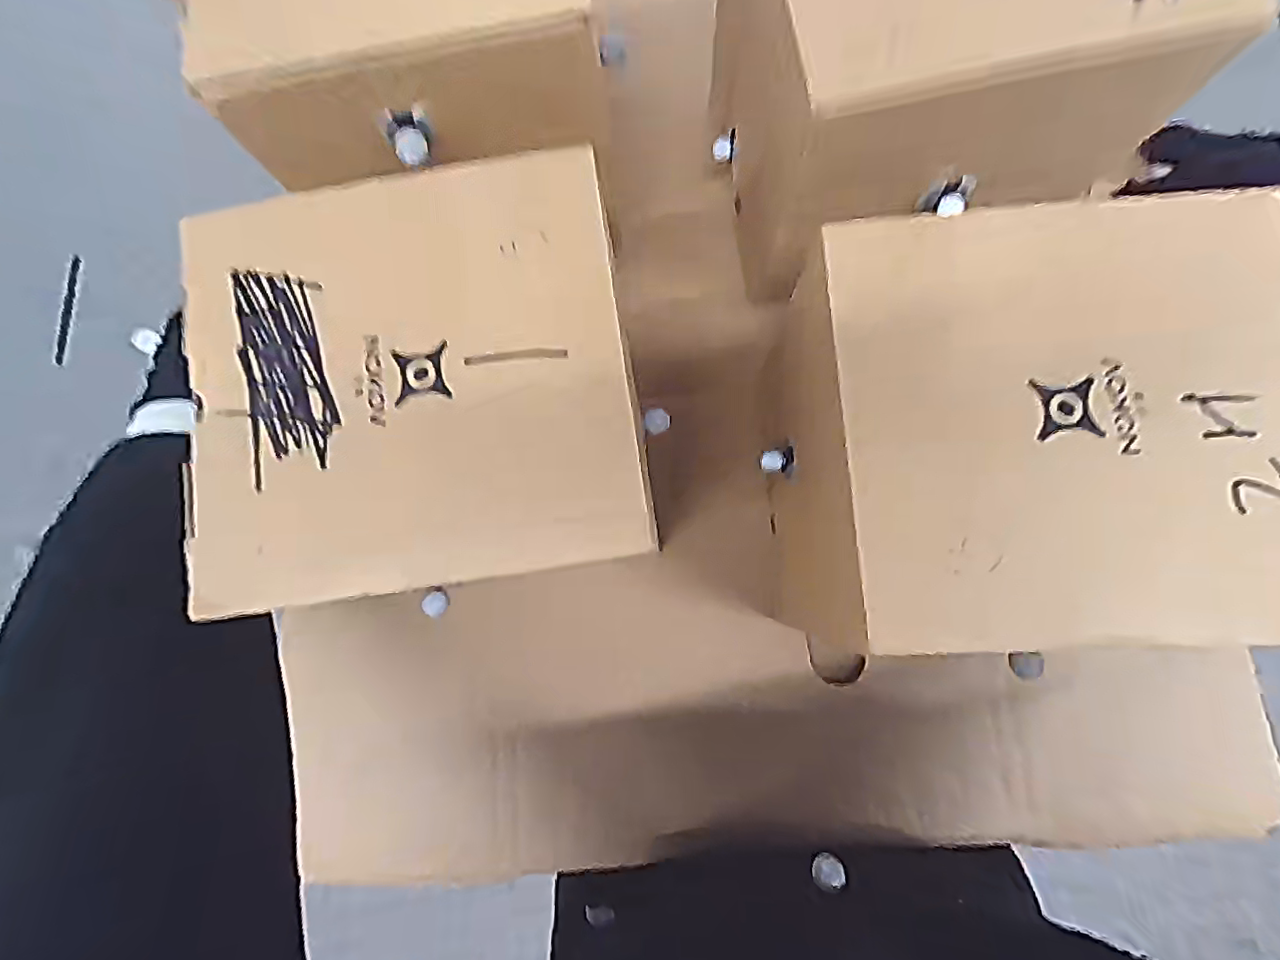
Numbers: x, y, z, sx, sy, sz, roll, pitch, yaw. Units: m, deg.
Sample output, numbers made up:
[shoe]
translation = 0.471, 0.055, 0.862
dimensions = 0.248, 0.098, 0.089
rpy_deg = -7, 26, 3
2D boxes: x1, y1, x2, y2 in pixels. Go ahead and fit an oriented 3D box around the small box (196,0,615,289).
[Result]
[small box]
translation = -0.114, -0.240, 0.323
dimensions = 0.179, 0.176, 0.168
rpy_deg = -11, 81, 3
